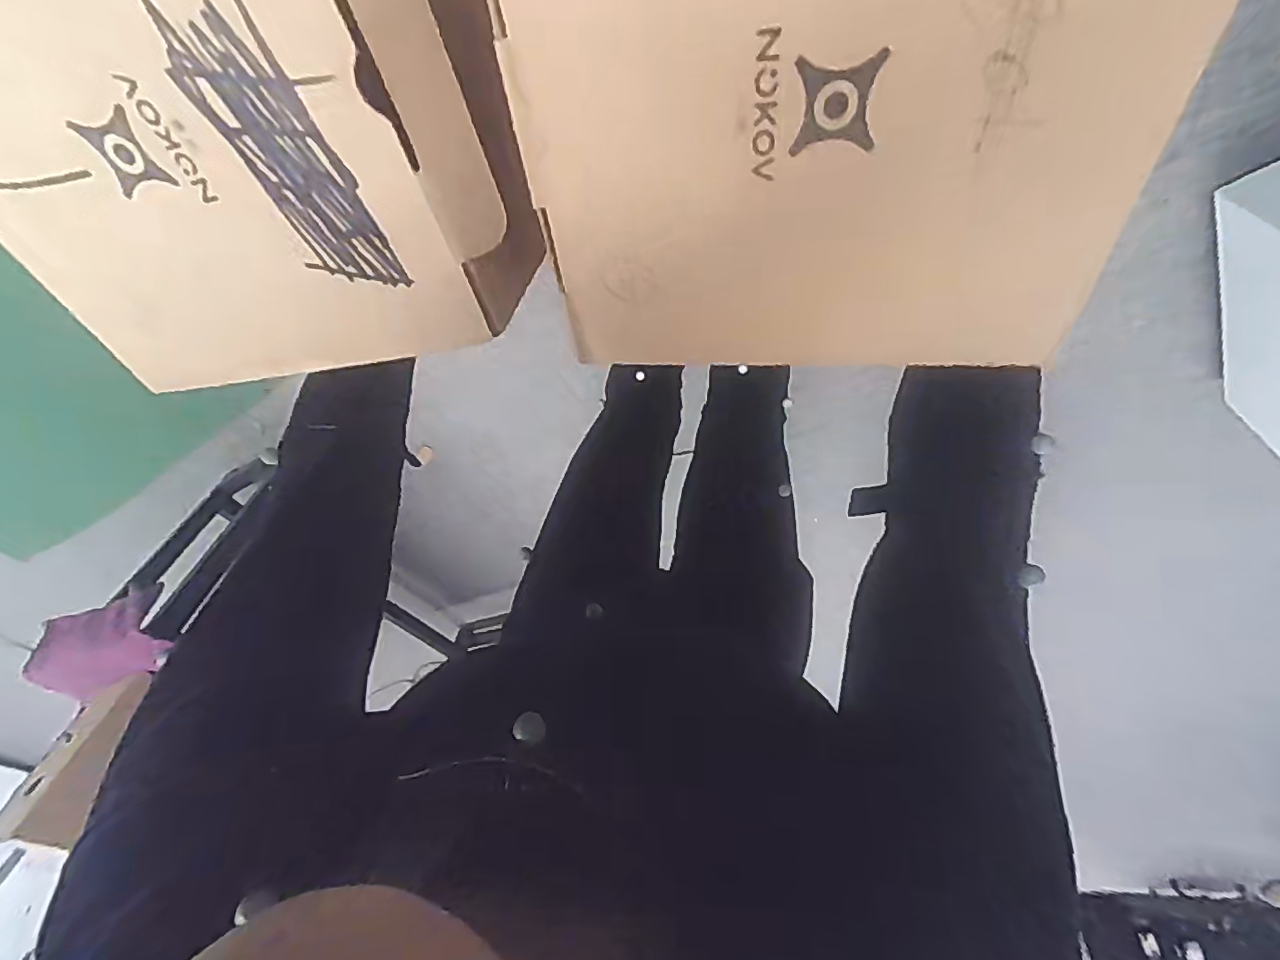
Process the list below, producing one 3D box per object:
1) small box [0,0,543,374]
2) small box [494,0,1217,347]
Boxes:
[{"bbox_3d":[-0.145,-0.168,0.226,0.179,0.176,0.168,-5,133,14],"label":"small box"},{"bbox_3d":[0.061,-0.165,0.199,0.179,0.176,0.168,3,136,11],"label":"small box"}]
